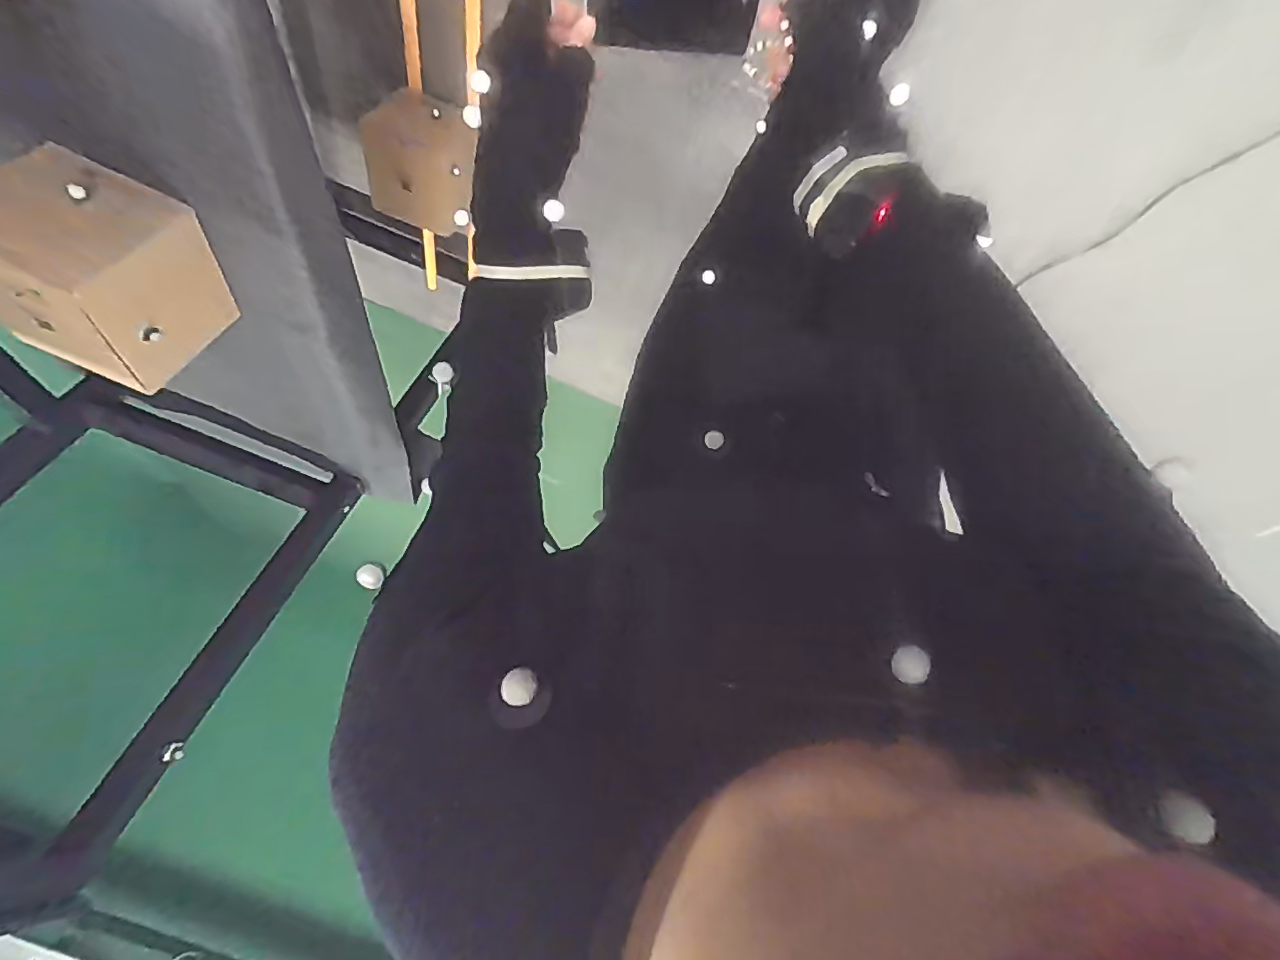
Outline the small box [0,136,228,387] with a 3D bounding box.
[{"bbox_3d":[-0.636,-0.250,0.632,0.168,0.176,0.179,24,146,-6],"label":"small box"}]
